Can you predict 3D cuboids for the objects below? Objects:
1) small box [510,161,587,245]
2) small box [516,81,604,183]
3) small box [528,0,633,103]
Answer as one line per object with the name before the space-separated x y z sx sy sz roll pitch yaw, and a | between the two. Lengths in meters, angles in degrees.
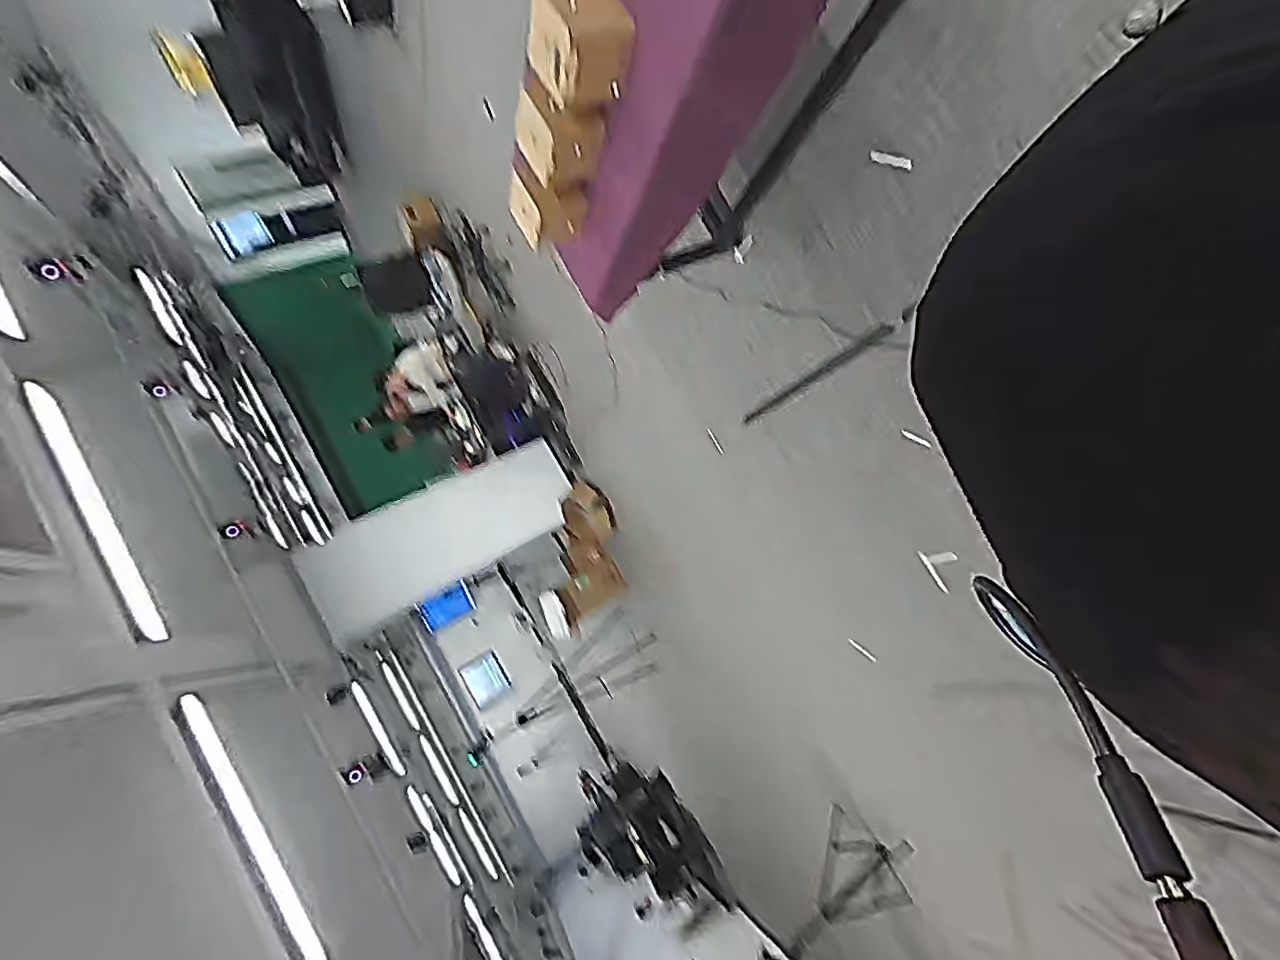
small box | -0.291 -0.882 1.705 0.179 0.176 0.168 59 157 7
small box | -0.219 -0.961 1.478 0.179 0.176 0.168 60 156 6
small box | -0.139 -1.019 1.246 0.179 0.176 0.168 58 156 11
